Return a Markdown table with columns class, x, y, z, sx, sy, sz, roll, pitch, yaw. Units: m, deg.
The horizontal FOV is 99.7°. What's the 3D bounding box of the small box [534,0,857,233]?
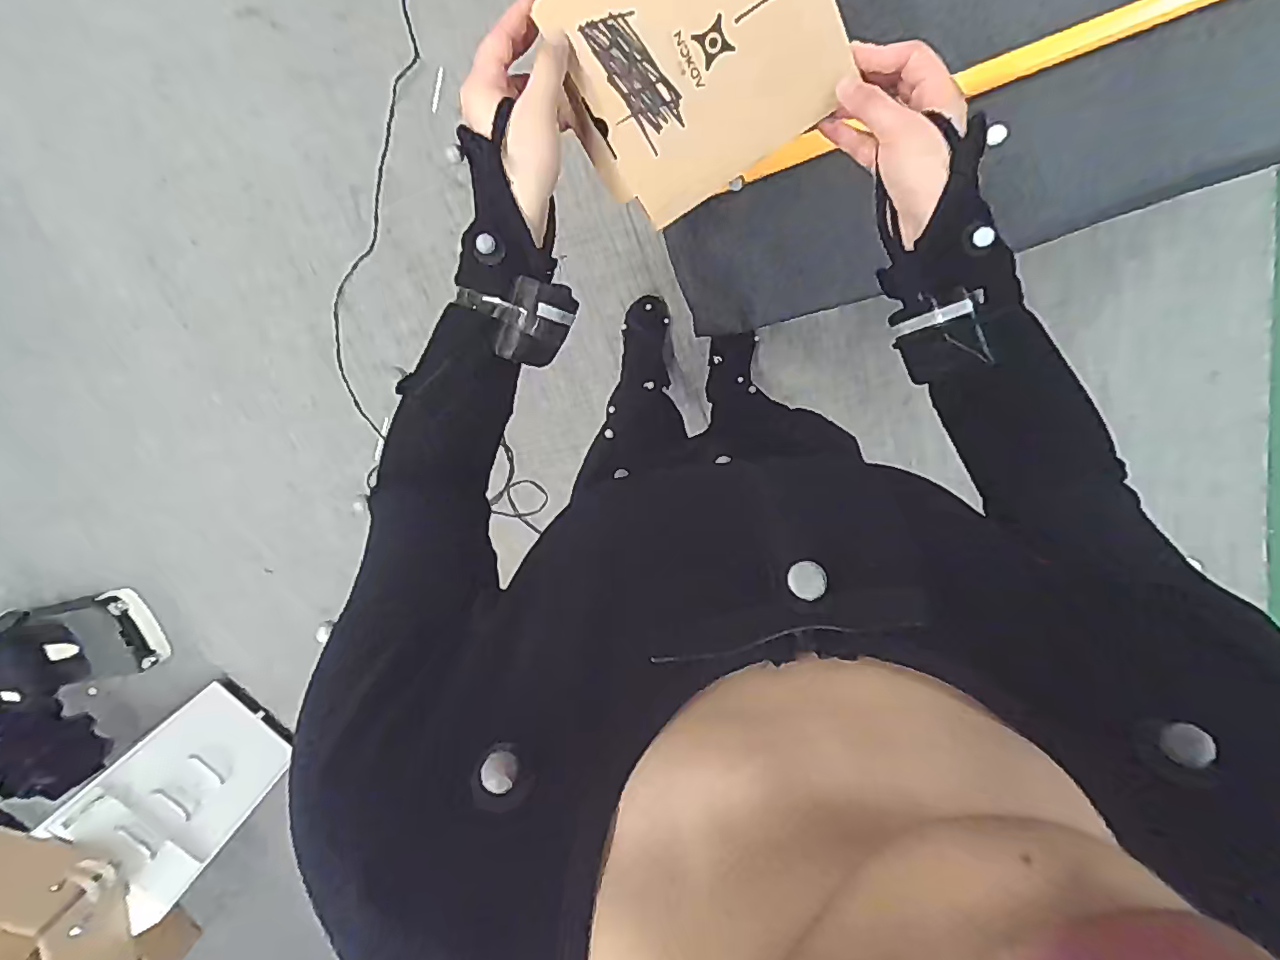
| class | x | y | z | sx | sy | sz | roll | pitch | yaw |
| --- | --- | --- | --- | --- | --- | --- | --- | --- | --- |
| small box | 0.043 | -0.334 | 0.443 | 0.179 | 0.176 | 0.168 | -29 | 118 | 16 |
